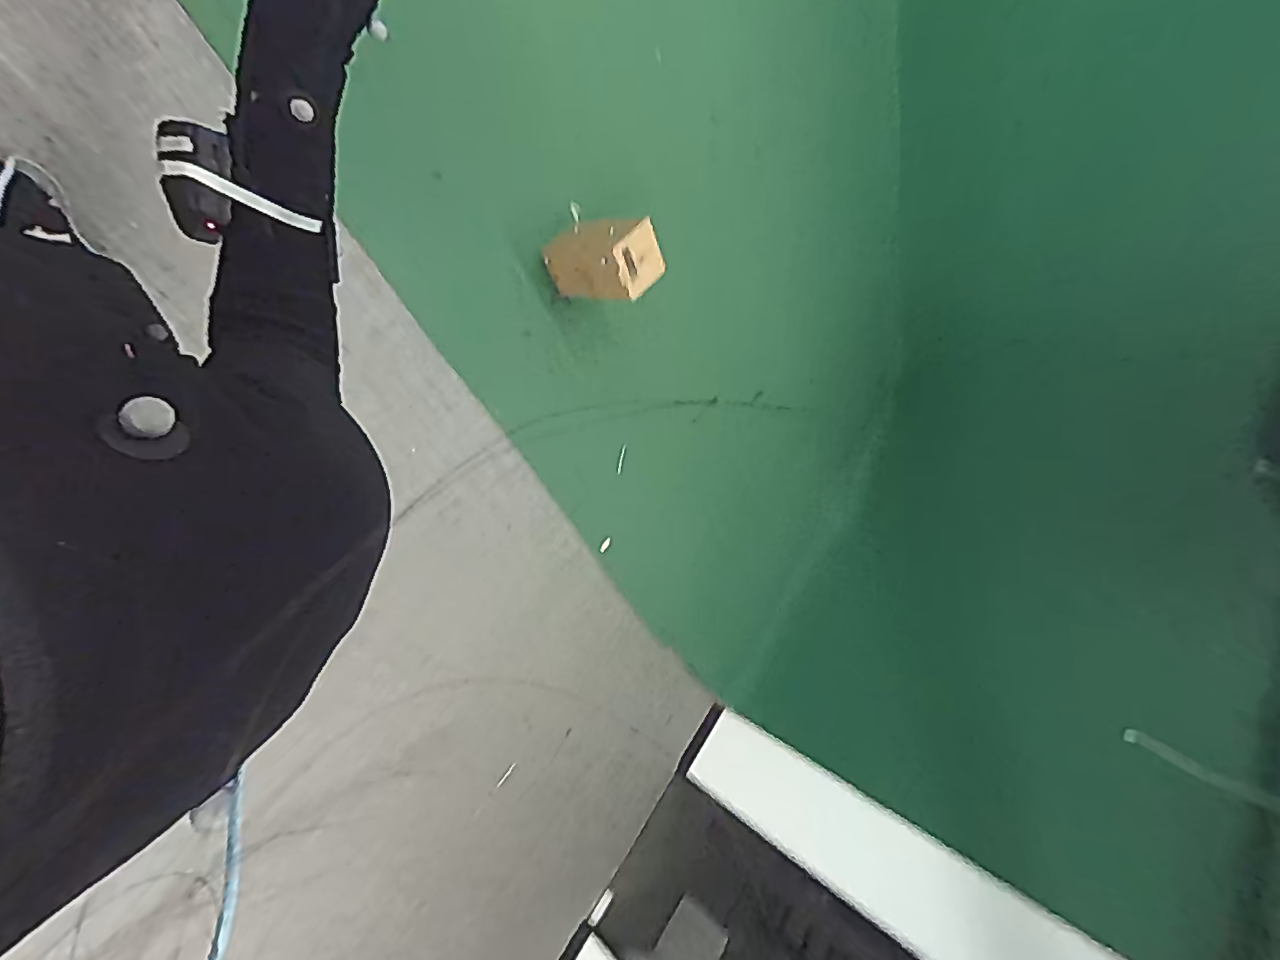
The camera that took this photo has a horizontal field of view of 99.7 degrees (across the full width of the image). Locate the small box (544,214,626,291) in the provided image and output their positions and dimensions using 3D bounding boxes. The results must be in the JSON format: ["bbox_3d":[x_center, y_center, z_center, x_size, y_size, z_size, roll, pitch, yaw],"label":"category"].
[{"bbox_3d":[-0.183,-0.726,1.731,0.179,0.176,0.168,-49,138,-23],"label":"small box"}]
